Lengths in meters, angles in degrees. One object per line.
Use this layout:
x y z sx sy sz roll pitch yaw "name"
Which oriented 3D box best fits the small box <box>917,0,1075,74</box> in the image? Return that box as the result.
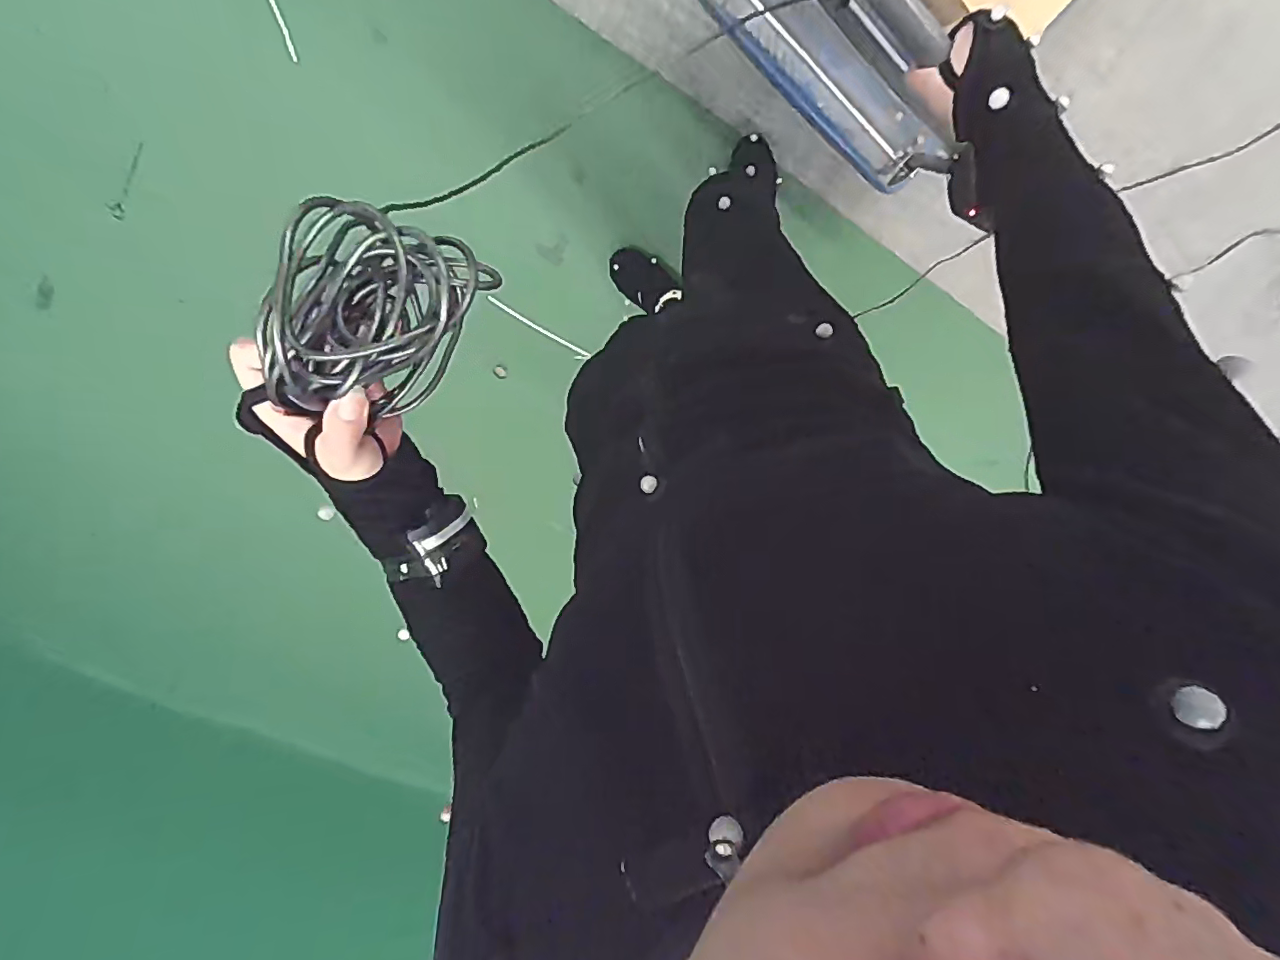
0.616 -0.838 0.917 0.168 0.176 0.179 36 117 -19 "small box"
